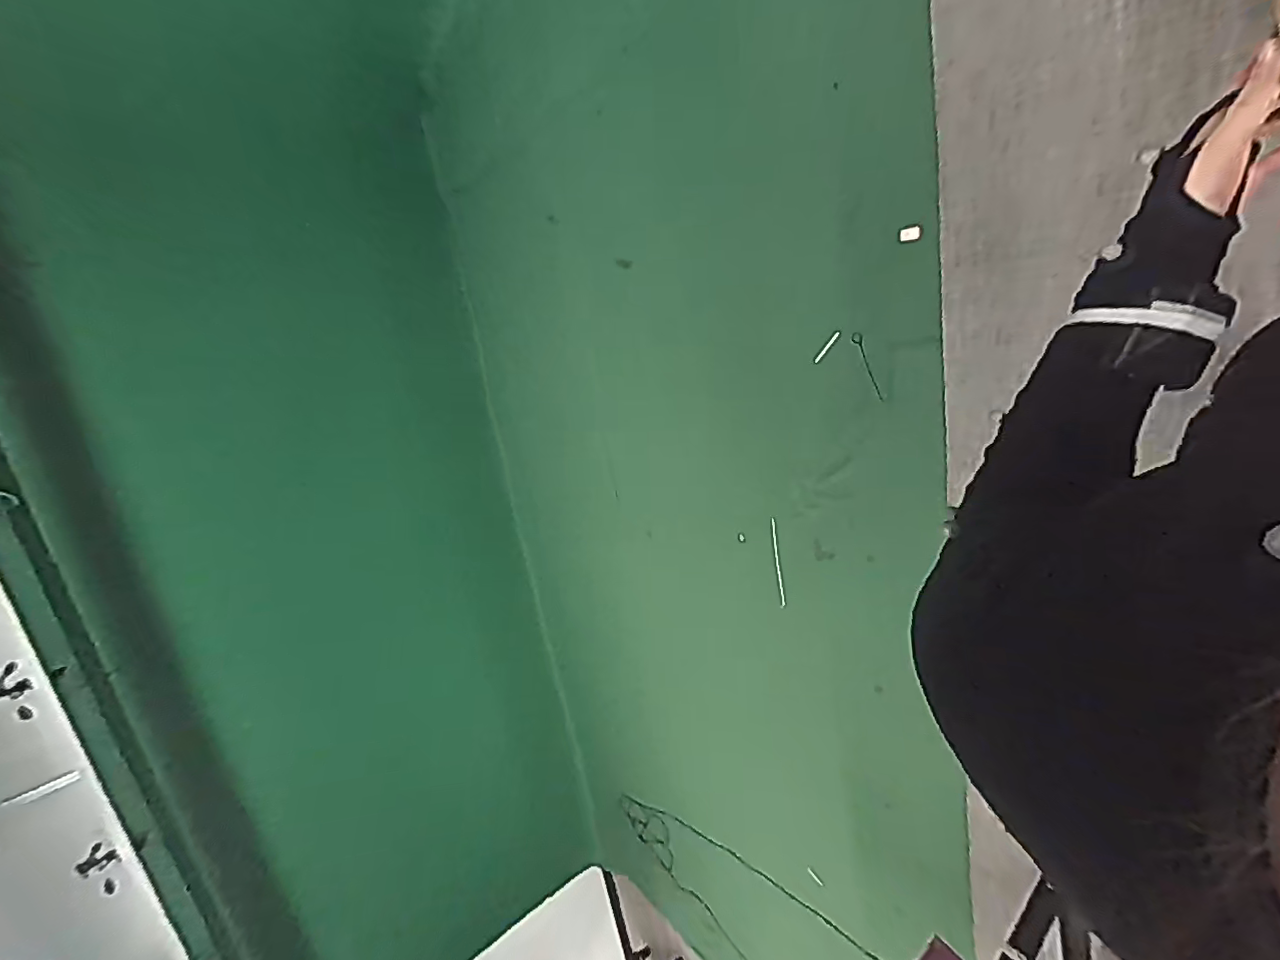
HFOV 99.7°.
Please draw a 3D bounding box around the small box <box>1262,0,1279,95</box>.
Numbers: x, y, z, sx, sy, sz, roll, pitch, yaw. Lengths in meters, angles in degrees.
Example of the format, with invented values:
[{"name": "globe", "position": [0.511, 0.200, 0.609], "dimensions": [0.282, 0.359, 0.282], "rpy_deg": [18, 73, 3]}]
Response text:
[{"name": "small box", "position": [0.429, -0.326, 0.259], "dimensions": [0.179, 0.176, 0.168], "rpy_deg": [-7, 96, 53]}]
